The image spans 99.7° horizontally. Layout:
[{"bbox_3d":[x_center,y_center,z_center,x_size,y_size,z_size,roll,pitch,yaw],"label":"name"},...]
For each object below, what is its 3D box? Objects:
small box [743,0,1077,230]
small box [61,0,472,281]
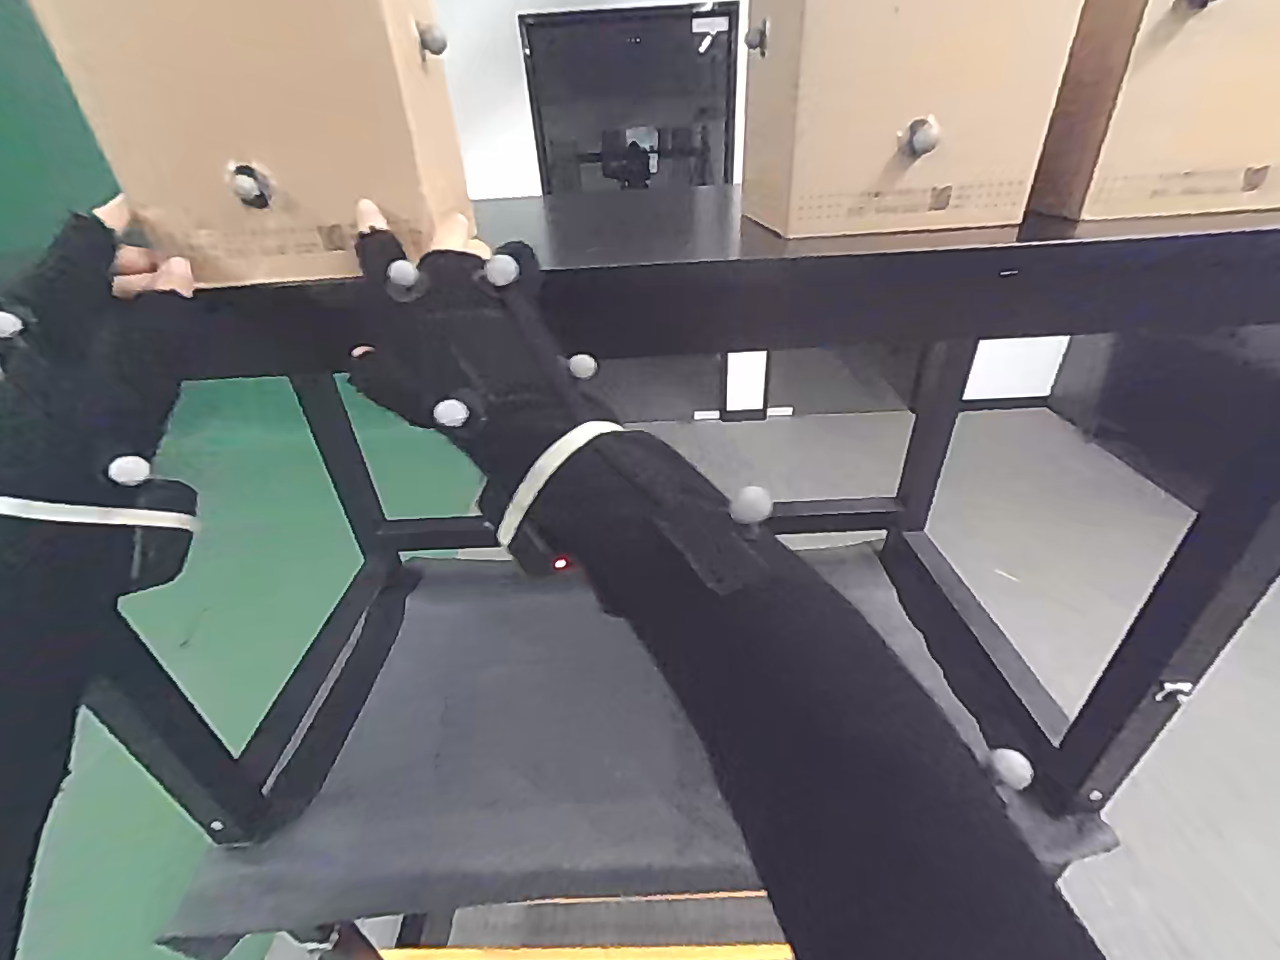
[{"bbox_3d":[0.176,-0.289,0.408,0.168,0.176,0.179,-3,31,1],"label":"small box"},{"bbox_3d":[-0.220,-0.239,0.369,0.168,0.176,0.179,-7,32,-6],"label":"small box"}]
